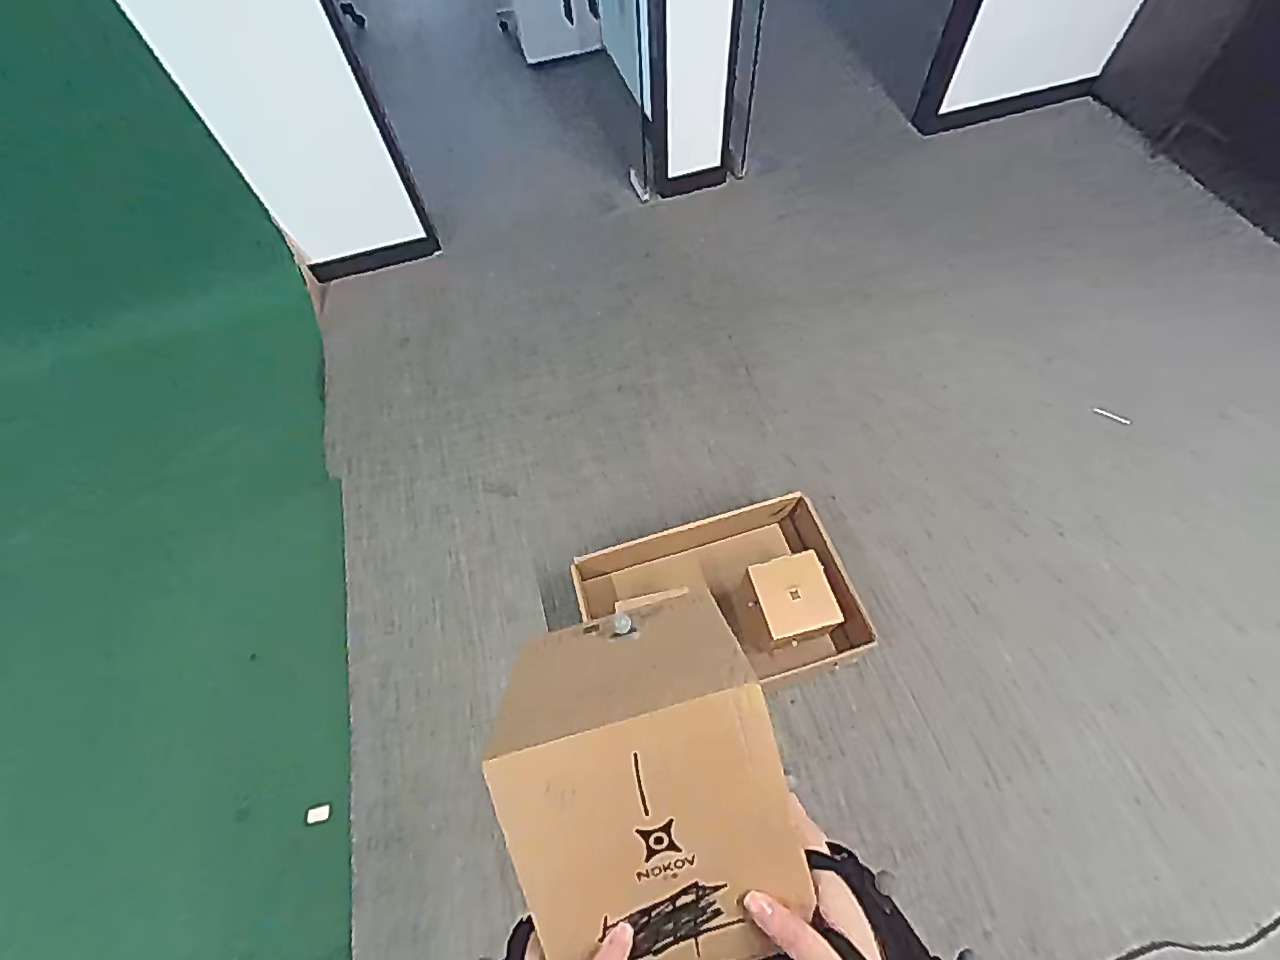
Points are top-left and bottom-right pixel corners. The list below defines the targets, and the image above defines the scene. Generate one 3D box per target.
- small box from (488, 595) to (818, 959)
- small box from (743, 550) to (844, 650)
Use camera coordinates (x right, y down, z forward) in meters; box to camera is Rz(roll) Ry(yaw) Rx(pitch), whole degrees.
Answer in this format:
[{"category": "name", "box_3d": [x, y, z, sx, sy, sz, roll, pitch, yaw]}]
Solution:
[{"category": "small box", "box_3d": [0.008, 0.209, 0.401, 0.168, 0.176, 0.179, -16, 96, -2]}, {"category": "small box", "box_3d": [0.355, 0.292, 1.282, 0.168, 0.176, 0.179, -14, 62, -4]}]
